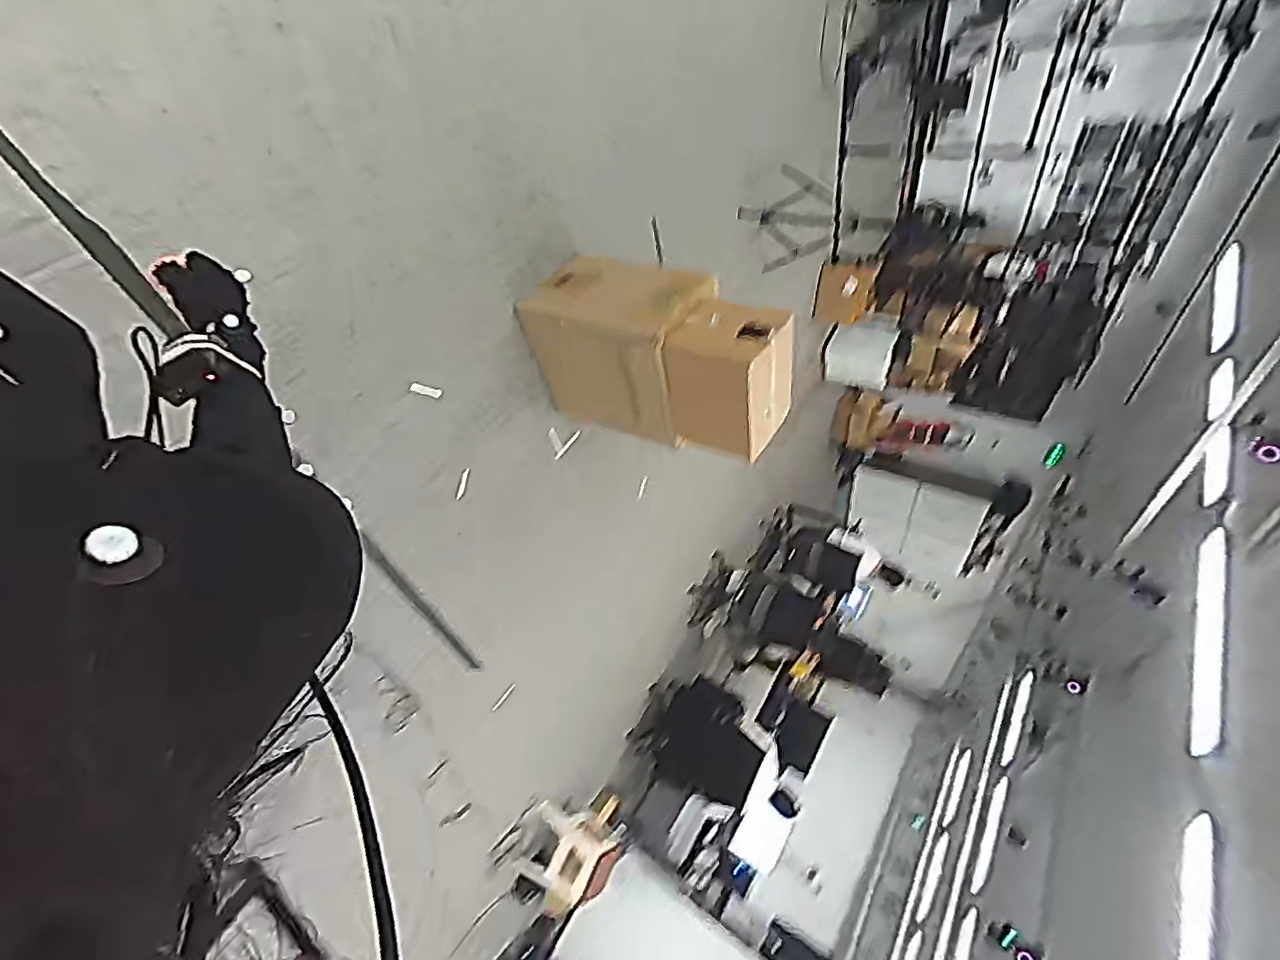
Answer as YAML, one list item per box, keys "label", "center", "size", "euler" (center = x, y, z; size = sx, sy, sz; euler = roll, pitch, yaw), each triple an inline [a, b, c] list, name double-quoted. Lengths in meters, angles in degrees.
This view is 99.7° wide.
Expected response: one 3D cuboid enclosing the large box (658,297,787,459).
- label: "large box"
  center: [0.288, -0.349, 1.839]
  size: [0.320, 0.320, 0.408]
  euler: [-49, 146, -30]
